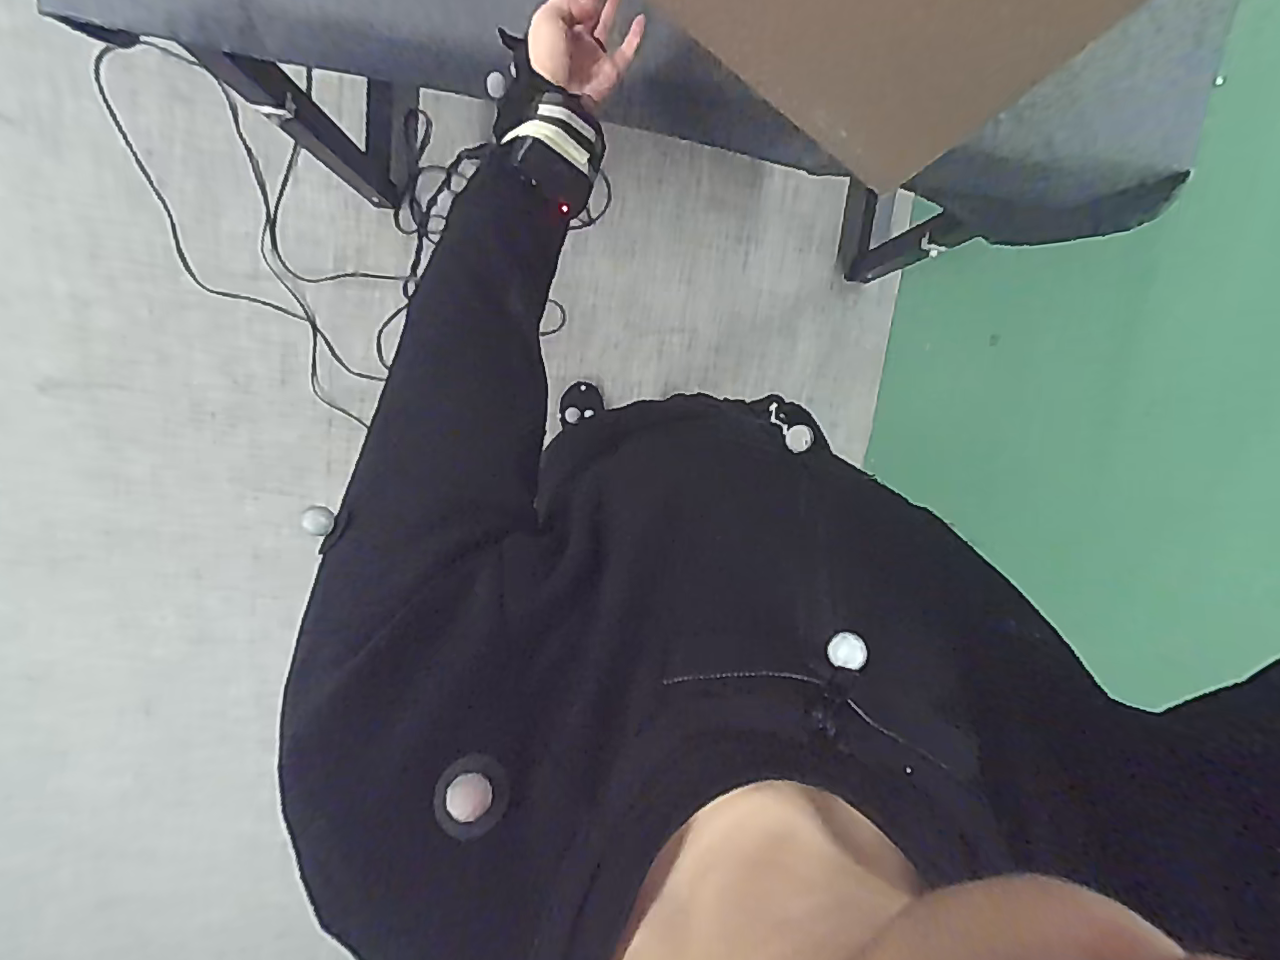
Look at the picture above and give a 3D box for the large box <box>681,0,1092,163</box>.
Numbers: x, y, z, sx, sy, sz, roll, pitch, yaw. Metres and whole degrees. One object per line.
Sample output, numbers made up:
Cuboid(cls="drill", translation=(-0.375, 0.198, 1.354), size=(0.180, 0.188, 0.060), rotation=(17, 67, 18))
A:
Cuboid(cls="large box", translation=(0.124, -0.385, 0.195), size=(0.320, 0.408, 0.320), rotation=(37, 113, -4))
